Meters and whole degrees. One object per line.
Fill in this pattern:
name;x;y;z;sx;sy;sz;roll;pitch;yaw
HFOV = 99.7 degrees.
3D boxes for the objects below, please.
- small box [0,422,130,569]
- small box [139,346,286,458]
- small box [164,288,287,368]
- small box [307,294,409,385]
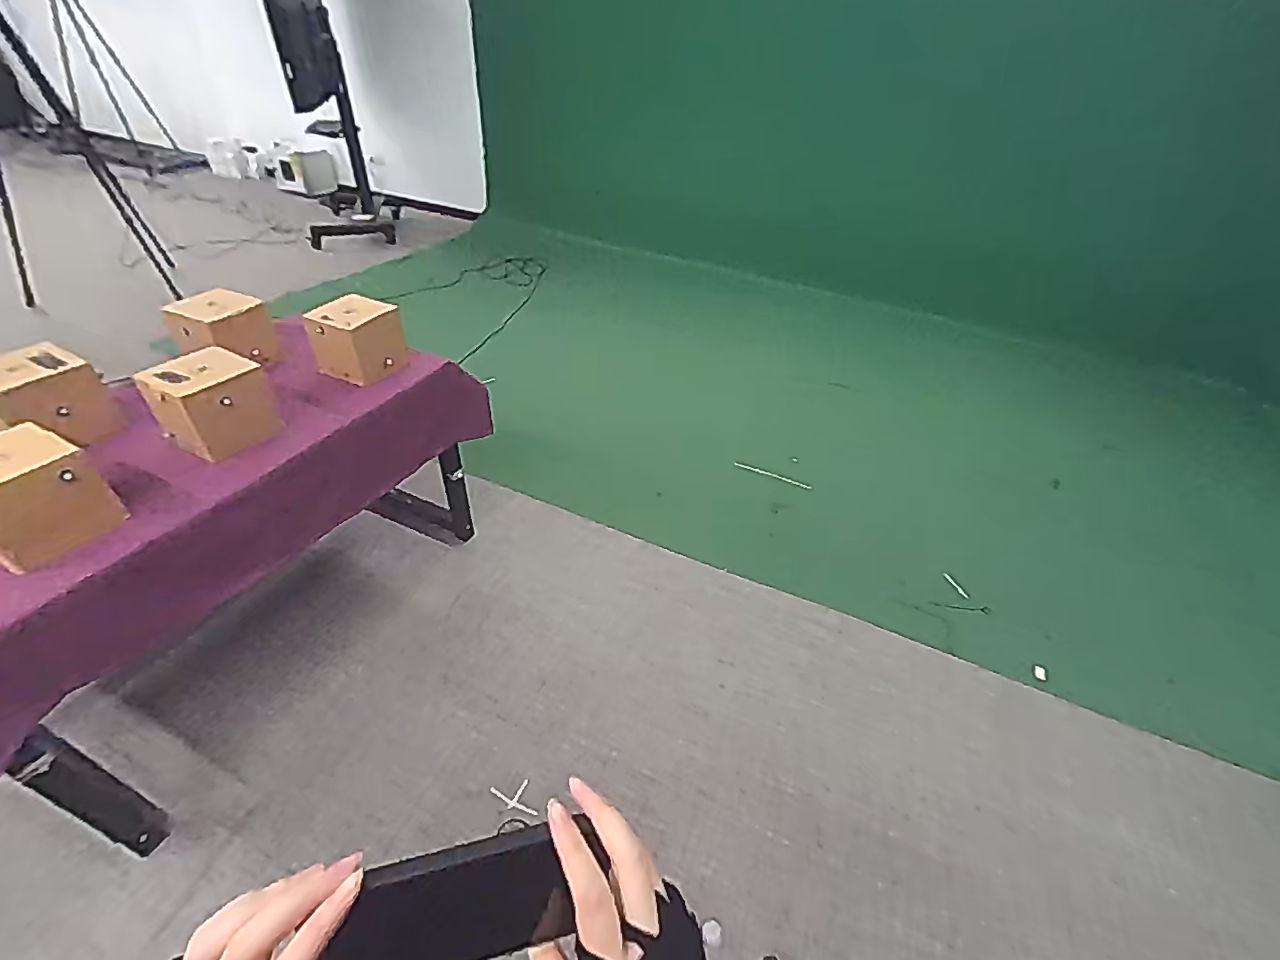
small box;-1.083;0.028;0.961;0.168;0.176;0.179;20;41;18
small box;-0.947;-0.175;1.216;0.168;0.176;0.179;22;42;19
small box;-1.108;-0.396;1.459;0.179;0.176;0.168;18;42;14
small box;-0.764;-0.387;1.488;0.168;0.176;0.179;19;42;16
